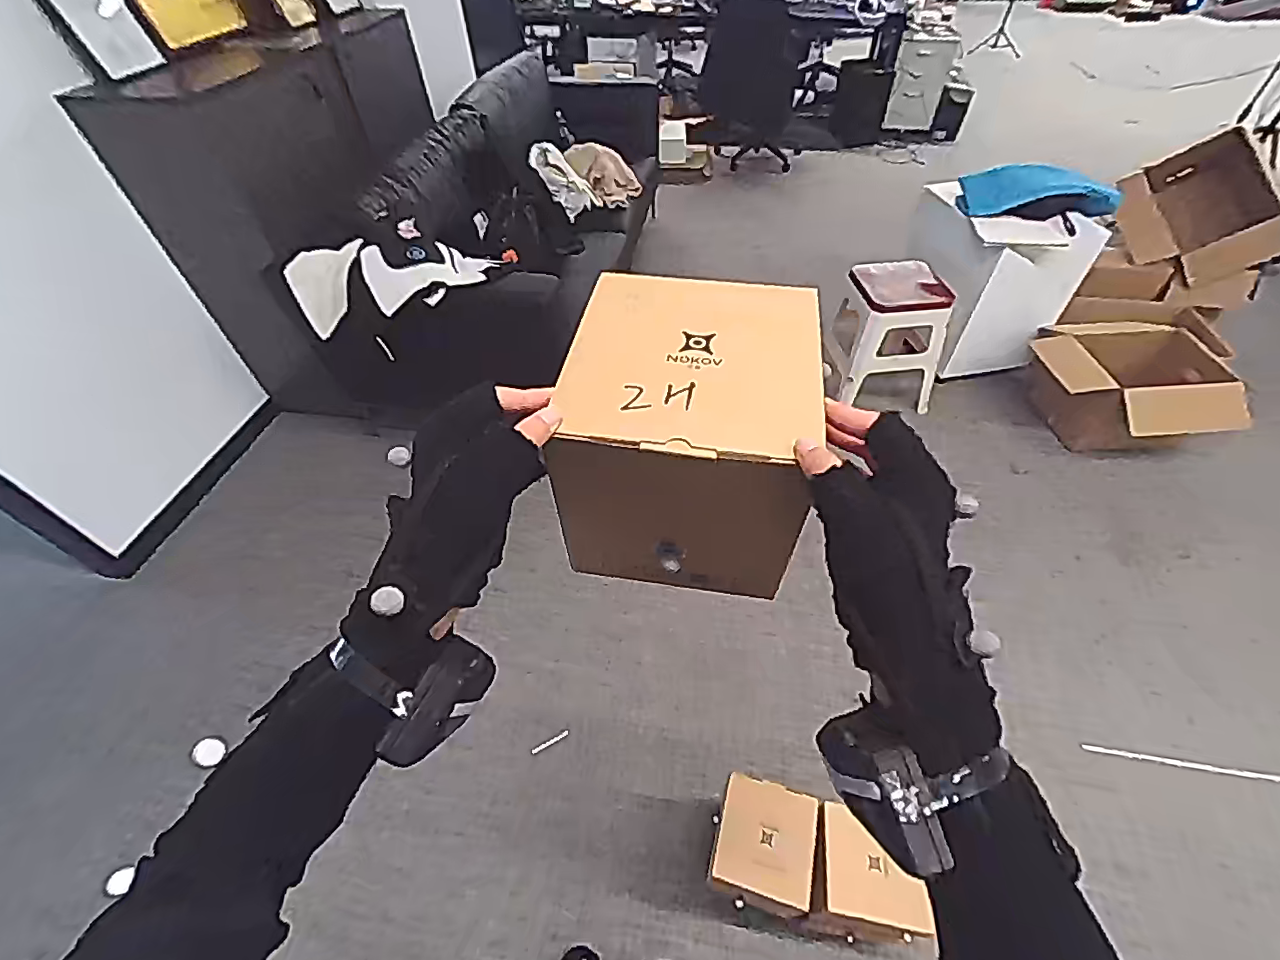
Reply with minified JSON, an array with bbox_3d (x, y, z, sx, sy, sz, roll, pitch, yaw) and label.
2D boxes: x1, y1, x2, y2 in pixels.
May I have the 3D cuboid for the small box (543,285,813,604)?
[{"bbox_3d":[0.035,-0.028,0.431,0.168,0.176,0.179,8,50,8],"label":"small box"}]
